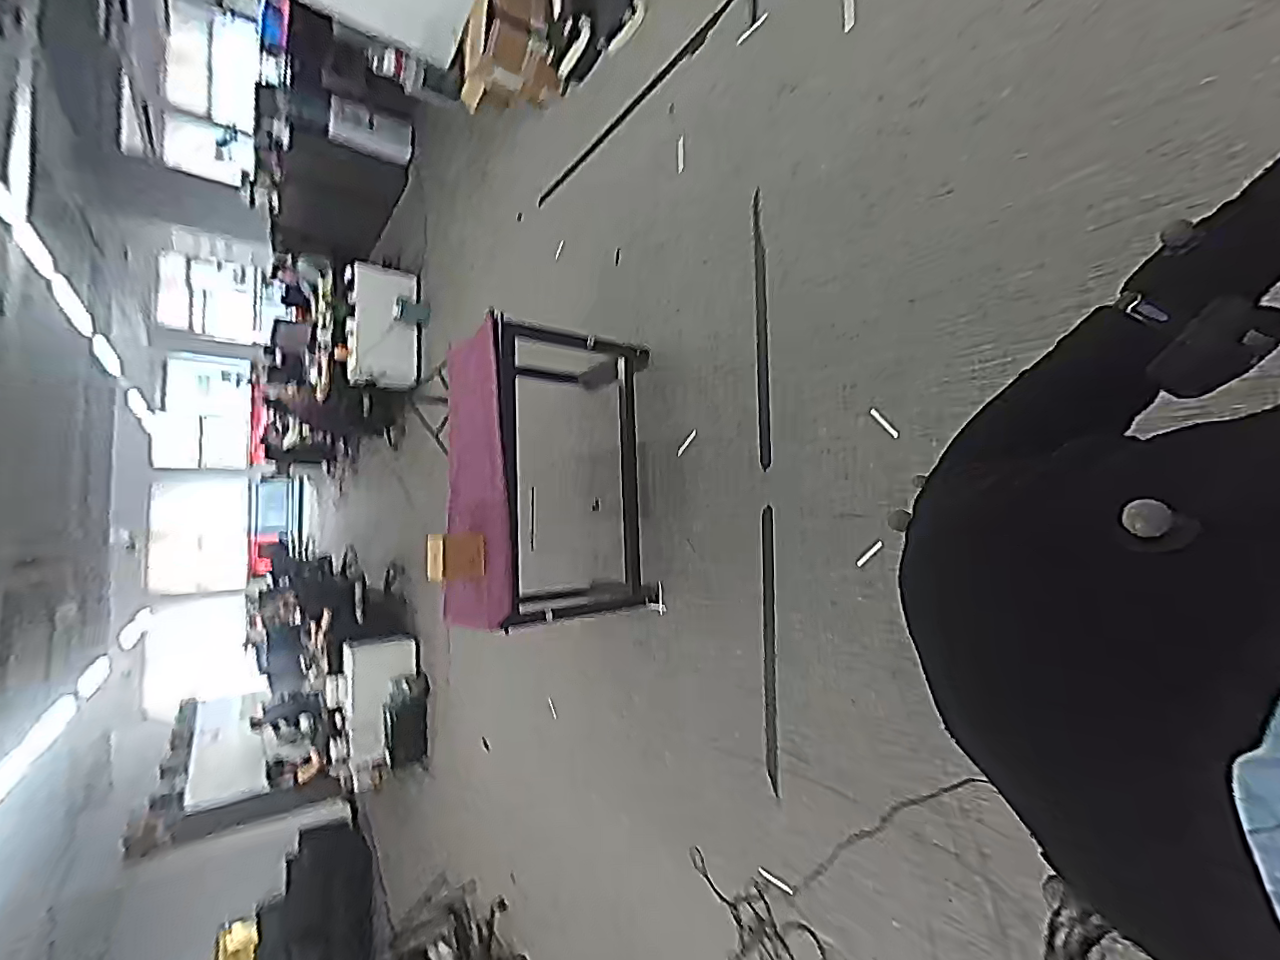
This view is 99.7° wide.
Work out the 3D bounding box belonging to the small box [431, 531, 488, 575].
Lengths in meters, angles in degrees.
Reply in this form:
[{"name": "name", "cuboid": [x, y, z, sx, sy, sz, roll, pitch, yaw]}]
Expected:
[{"name": "small box", "cuboid": [-0.717, 0.288, 2.150, 0.179, 0.176, 0.168, -9, 81, 51]}]
